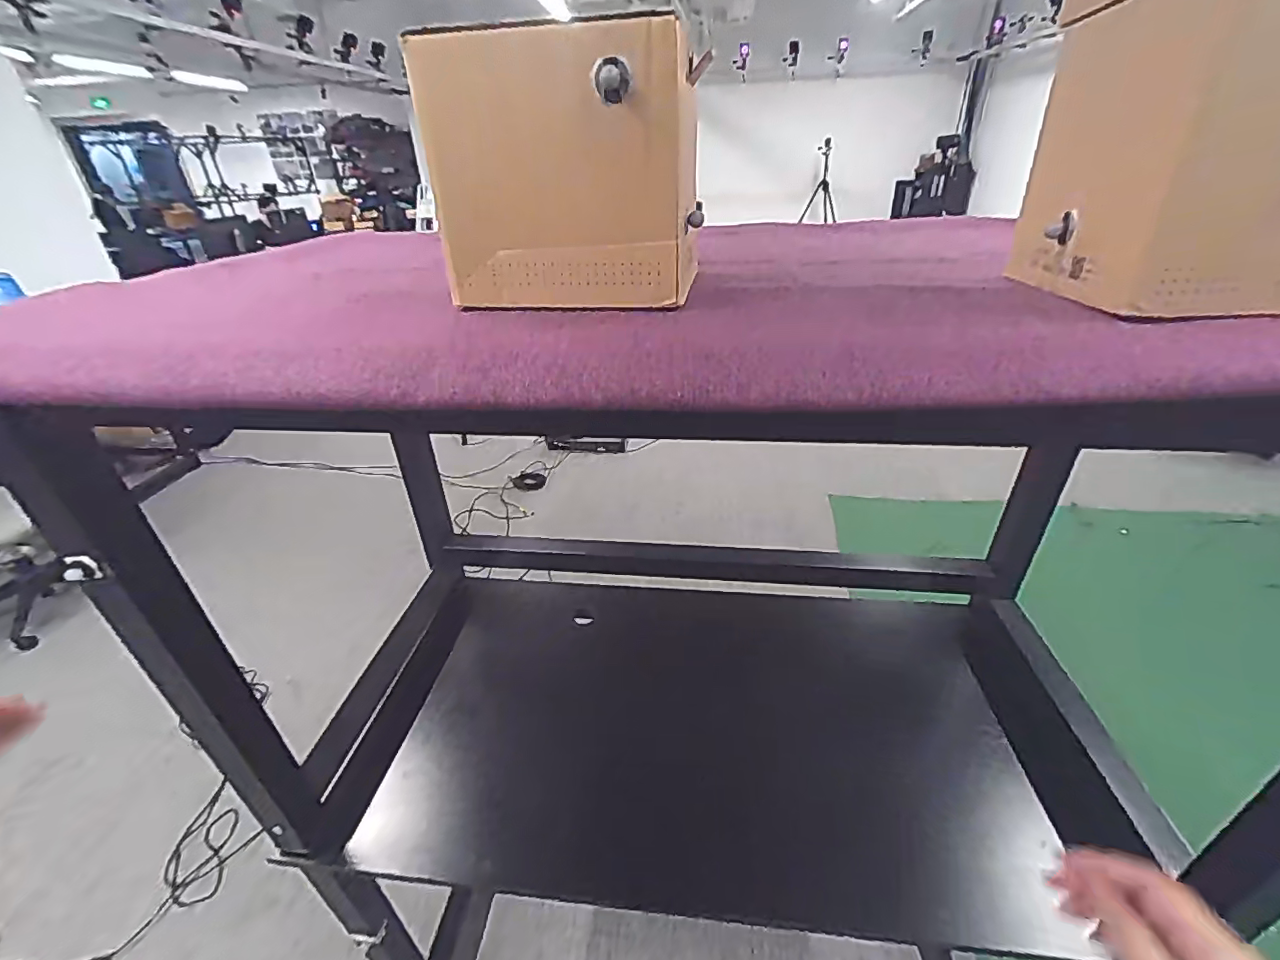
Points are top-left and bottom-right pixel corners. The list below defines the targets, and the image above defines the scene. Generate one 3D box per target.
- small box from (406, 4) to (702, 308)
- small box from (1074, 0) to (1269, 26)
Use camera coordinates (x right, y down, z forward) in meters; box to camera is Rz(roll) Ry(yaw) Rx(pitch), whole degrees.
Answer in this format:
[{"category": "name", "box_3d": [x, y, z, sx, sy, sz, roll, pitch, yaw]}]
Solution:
[{"category": "small box", "box_3d": [-0.045, -0.235, 0.423, 0.179, 0.176, 0.168, 3, 30, 8]}, {"category": "small box", "box_3d": [0.359, -0.347, 0.253, 0.168, 0.176, 0.179, 1, 29, 9]}]
